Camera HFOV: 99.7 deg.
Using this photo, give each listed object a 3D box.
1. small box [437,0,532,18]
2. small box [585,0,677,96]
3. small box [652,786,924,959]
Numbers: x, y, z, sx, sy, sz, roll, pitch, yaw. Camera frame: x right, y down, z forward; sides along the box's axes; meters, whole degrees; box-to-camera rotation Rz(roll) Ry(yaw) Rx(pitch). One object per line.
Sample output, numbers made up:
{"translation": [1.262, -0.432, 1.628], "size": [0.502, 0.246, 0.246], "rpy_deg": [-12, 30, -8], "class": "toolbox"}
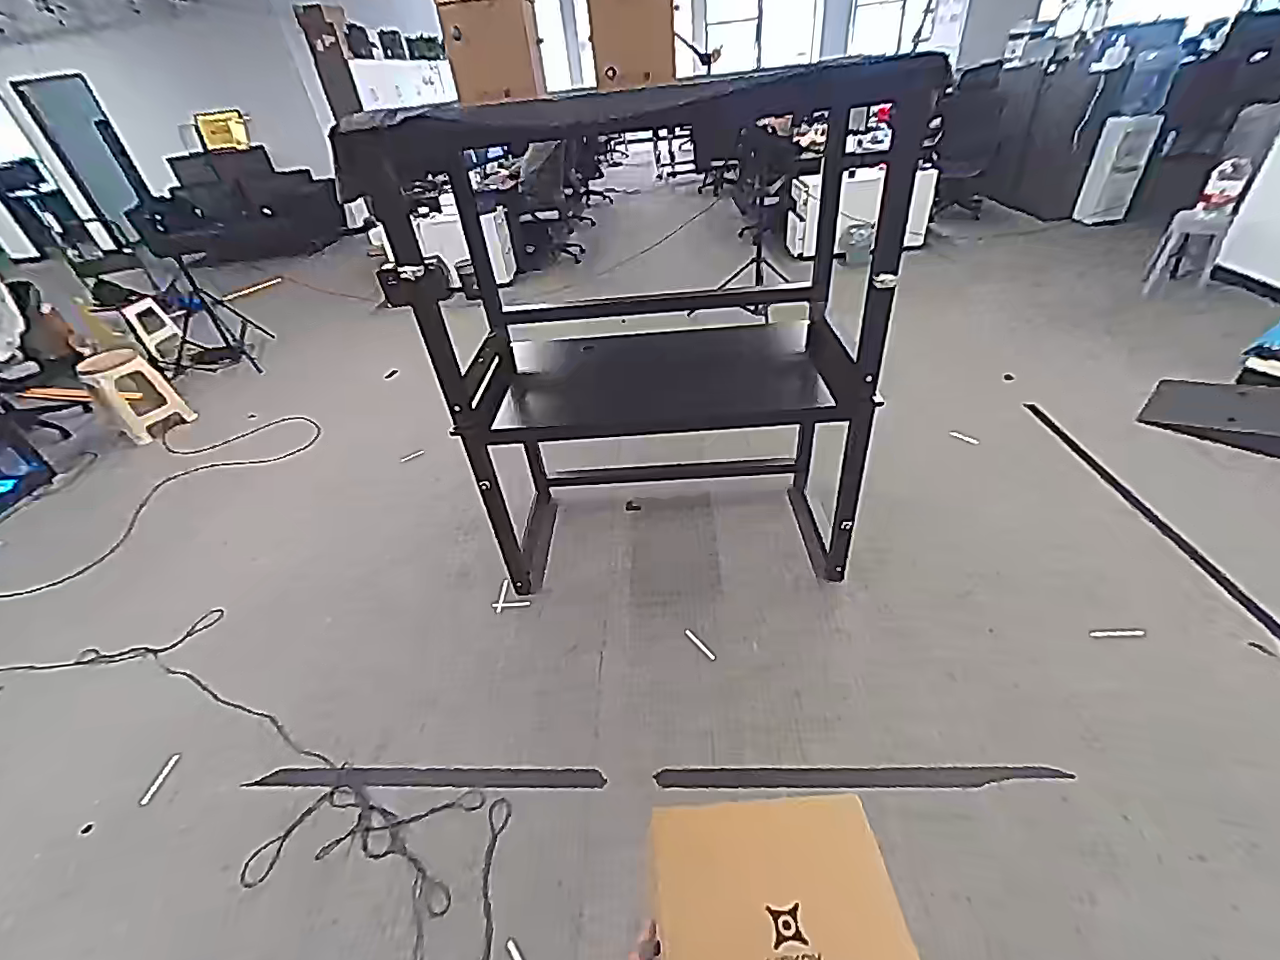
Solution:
{"translation": [-0.313, -1.012, 1.034], "size": [0.168, 0.176, 0.179], "rpy_deg": [-4, 35, 4], "class": "small box"}
{"translation": [-0.012, -0.903, 1.112], "size": [0.168, 0.176, 0.179], "rpy_deg": [-3, 35, 5], "class": "small box"}
{"translation": [0.097, 0.362, 0.404], "size": [0.168, 0.176, 0.179], "rpy_deg": [-3, 37, -3], "class": "small box"}
